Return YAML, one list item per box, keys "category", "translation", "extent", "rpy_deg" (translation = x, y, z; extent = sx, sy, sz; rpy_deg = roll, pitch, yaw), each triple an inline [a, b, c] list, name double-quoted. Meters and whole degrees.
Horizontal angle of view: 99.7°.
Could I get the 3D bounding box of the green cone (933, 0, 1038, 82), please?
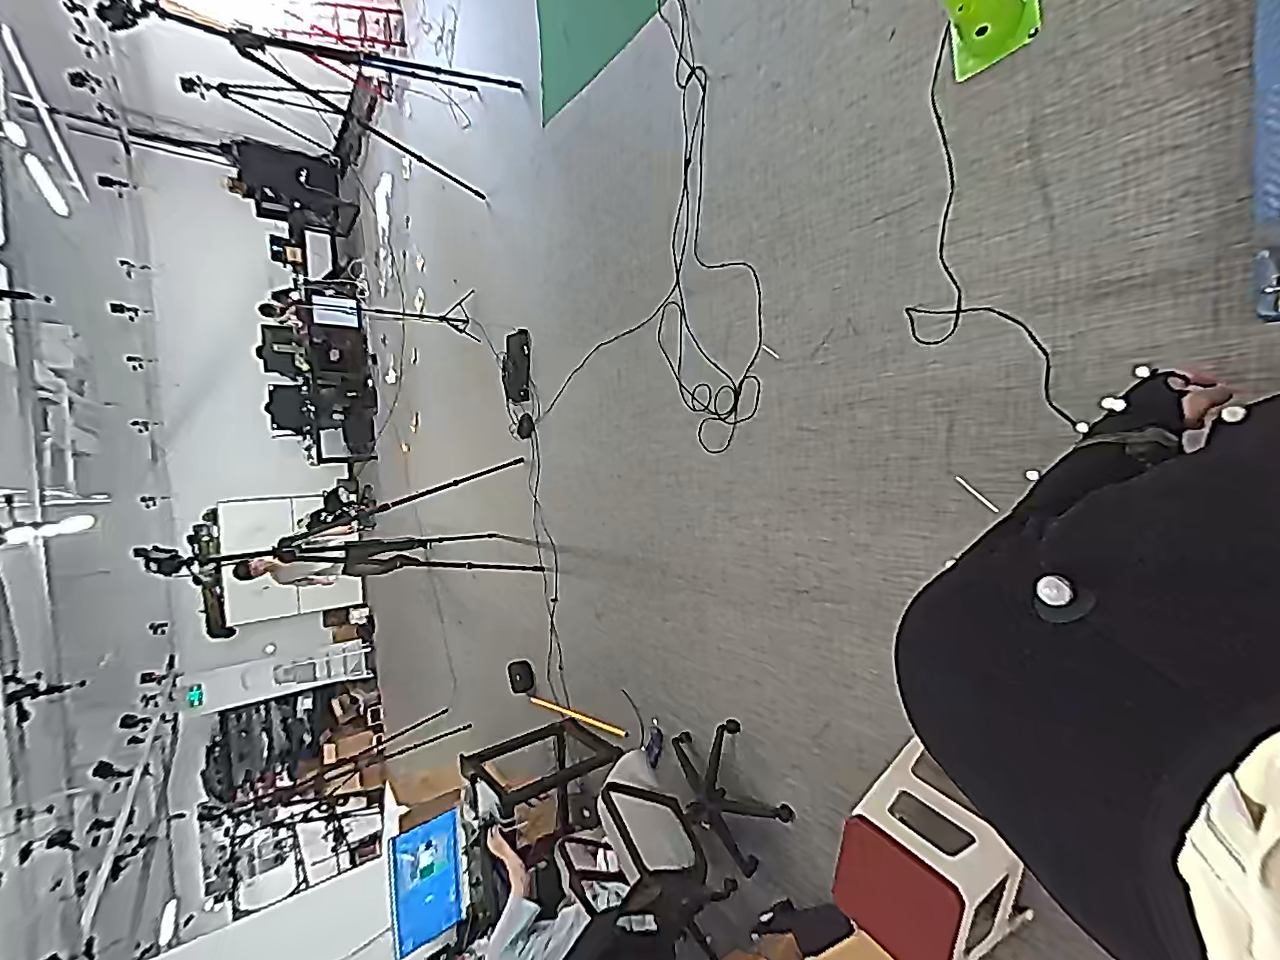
- category: "green cone"
  translation: [0.791, -1.196, 1.331]
  extent: [0.202, 0.368, 0.200]
  rpy_deg: [-7, 88, 54]
